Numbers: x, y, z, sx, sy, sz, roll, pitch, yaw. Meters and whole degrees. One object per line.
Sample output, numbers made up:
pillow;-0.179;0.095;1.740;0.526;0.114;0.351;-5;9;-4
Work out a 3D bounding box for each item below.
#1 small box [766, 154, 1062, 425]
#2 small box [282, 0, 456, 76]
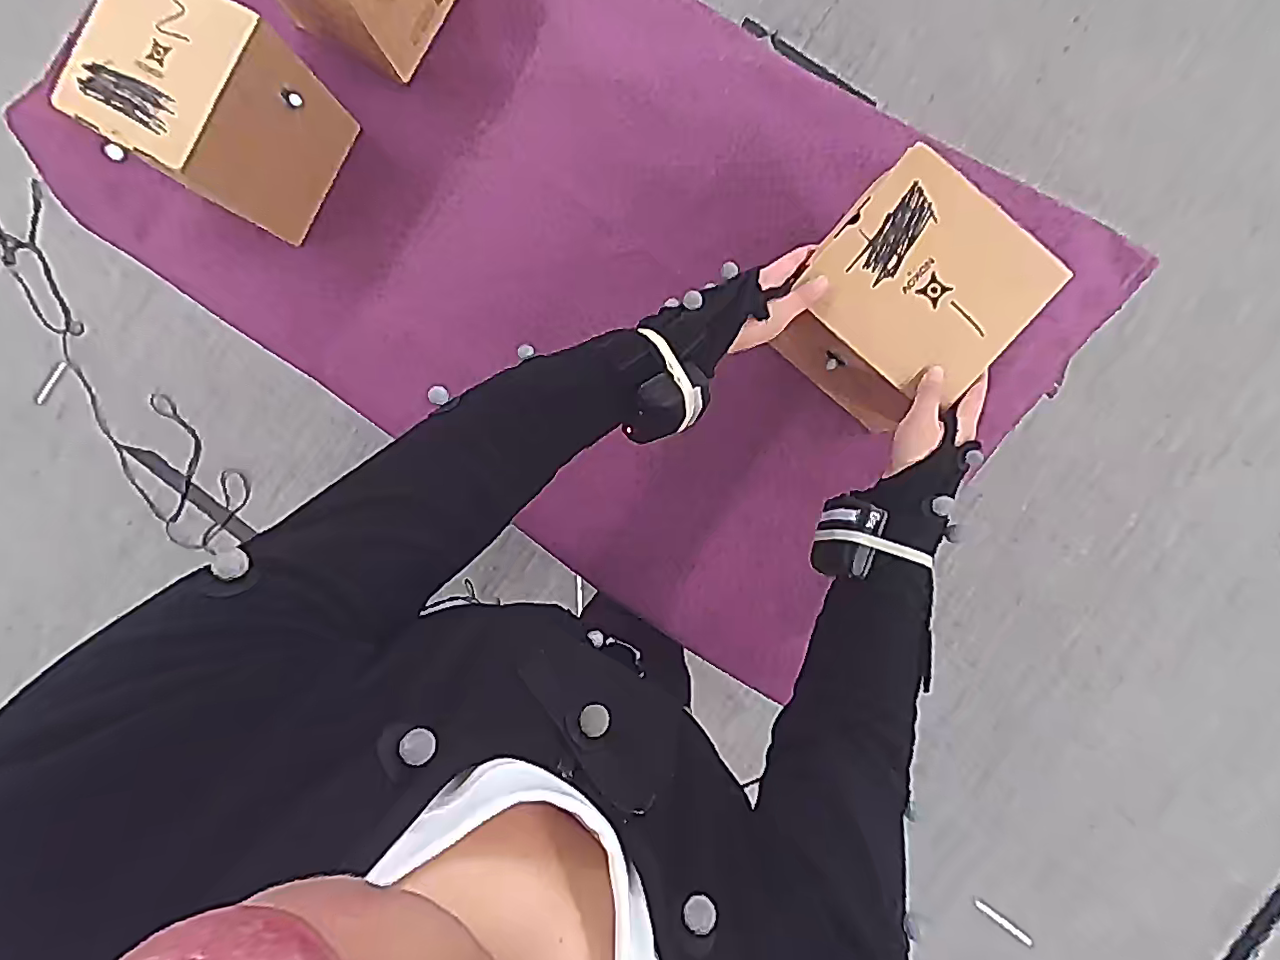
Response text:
small box;0.251;-0.170;0.549;0.179;0.176;0.168;42;95;2
small box;-0.328;-0.609;0.607;0.179;0.176;0.168;31;92;4
